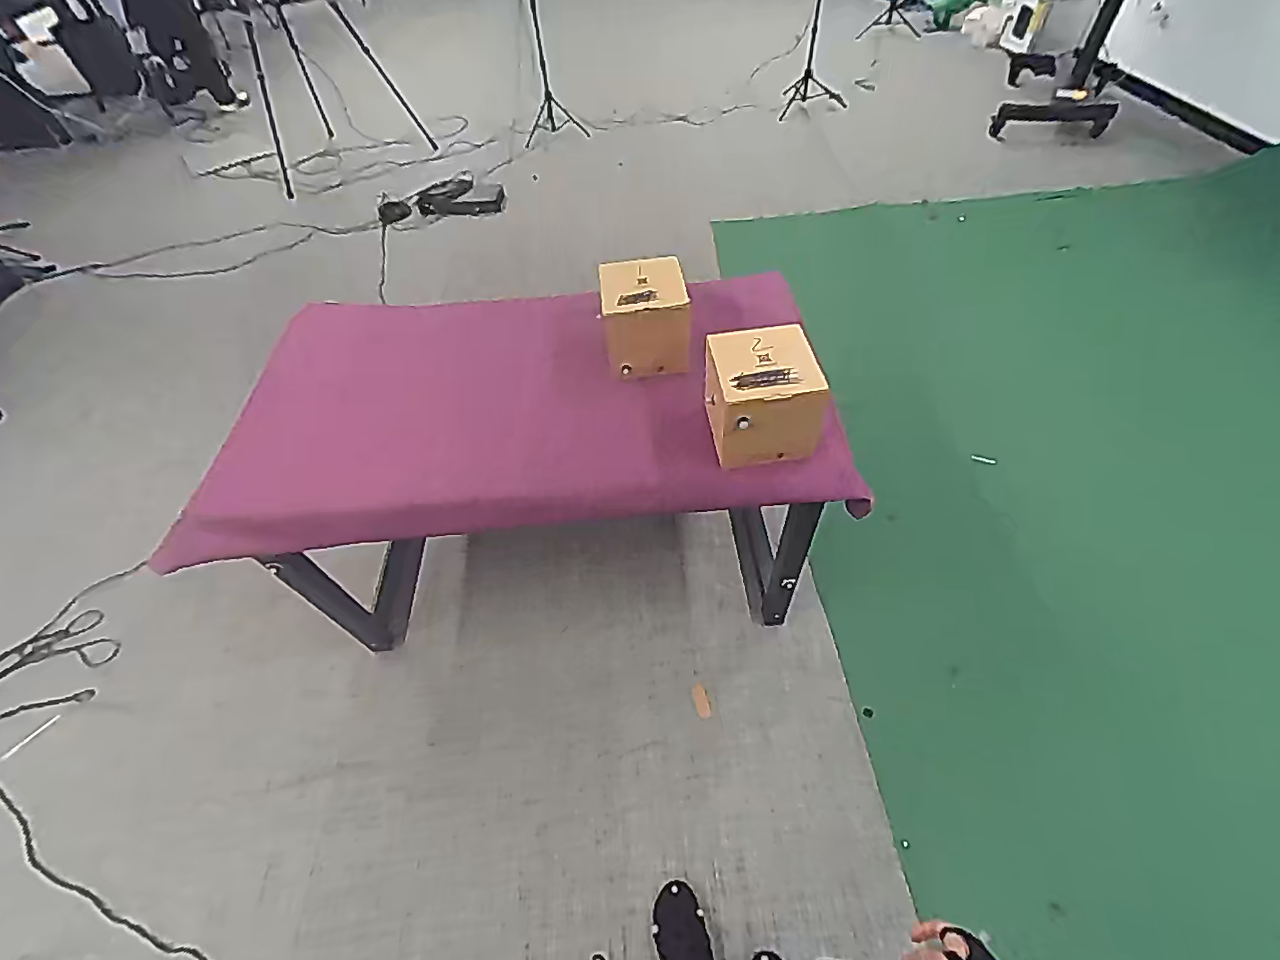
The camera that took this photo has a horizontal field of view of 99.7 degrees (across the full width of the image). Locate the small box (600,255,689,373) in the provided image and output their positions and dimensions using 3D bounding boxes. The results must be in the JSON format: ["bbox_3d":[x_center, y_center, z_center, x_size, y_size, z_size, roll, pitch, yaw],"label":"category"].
[{"bbox_3d":[0.010,-0.336,1.118,0.168,0.176,0.179,-6,52,0],"label":"small box"}]
